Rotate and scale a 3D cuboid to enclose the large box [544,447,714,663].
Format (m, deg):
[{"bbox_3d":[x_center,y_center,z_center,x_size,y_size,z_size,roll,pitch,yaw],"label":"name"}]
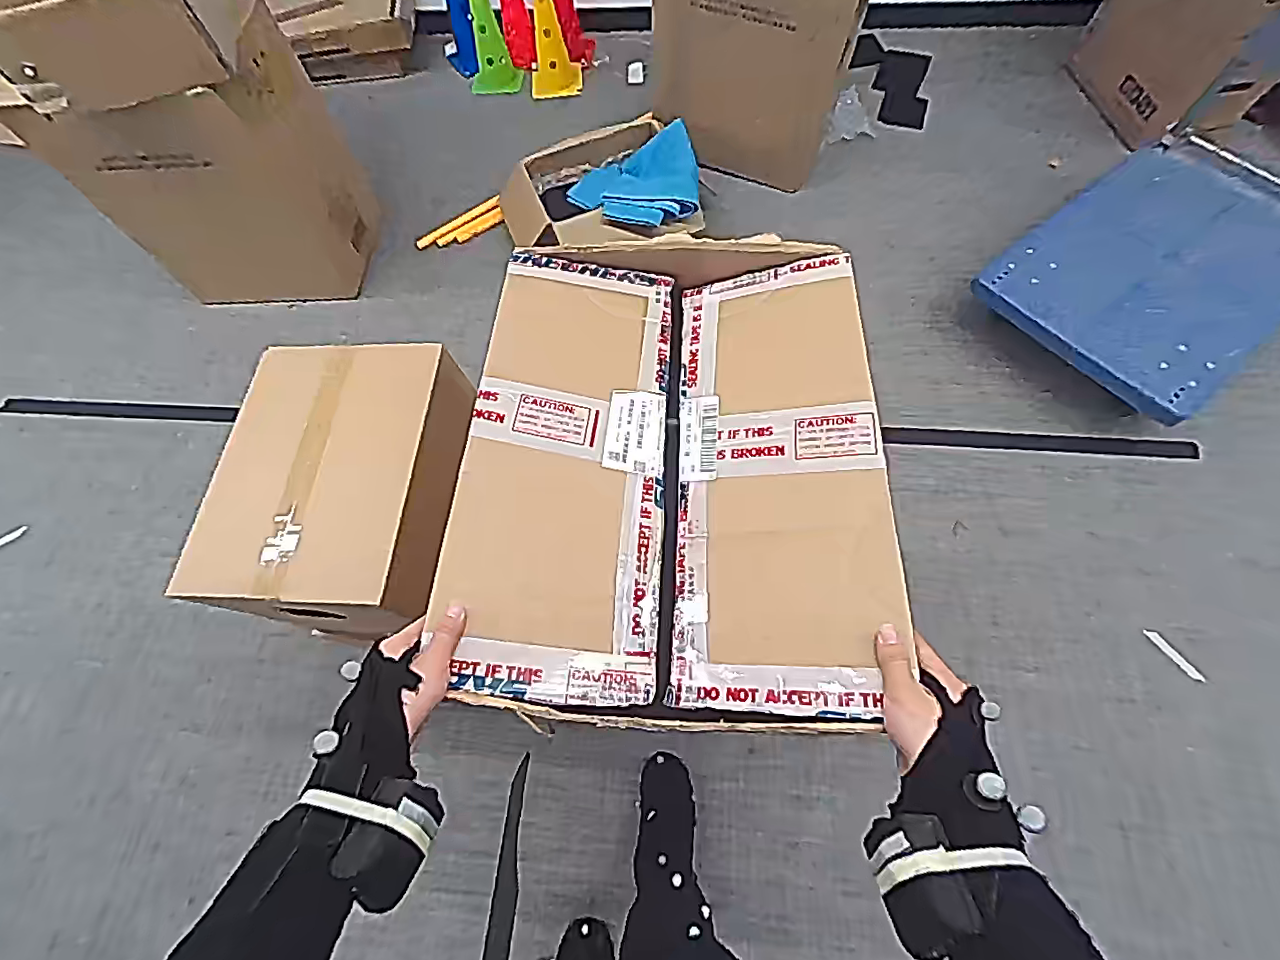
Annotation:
[{"bbox_3d":[-0.009,0.173,1.182,0.320,0.320,0.408,2,66,4],"label":"large box"}]
